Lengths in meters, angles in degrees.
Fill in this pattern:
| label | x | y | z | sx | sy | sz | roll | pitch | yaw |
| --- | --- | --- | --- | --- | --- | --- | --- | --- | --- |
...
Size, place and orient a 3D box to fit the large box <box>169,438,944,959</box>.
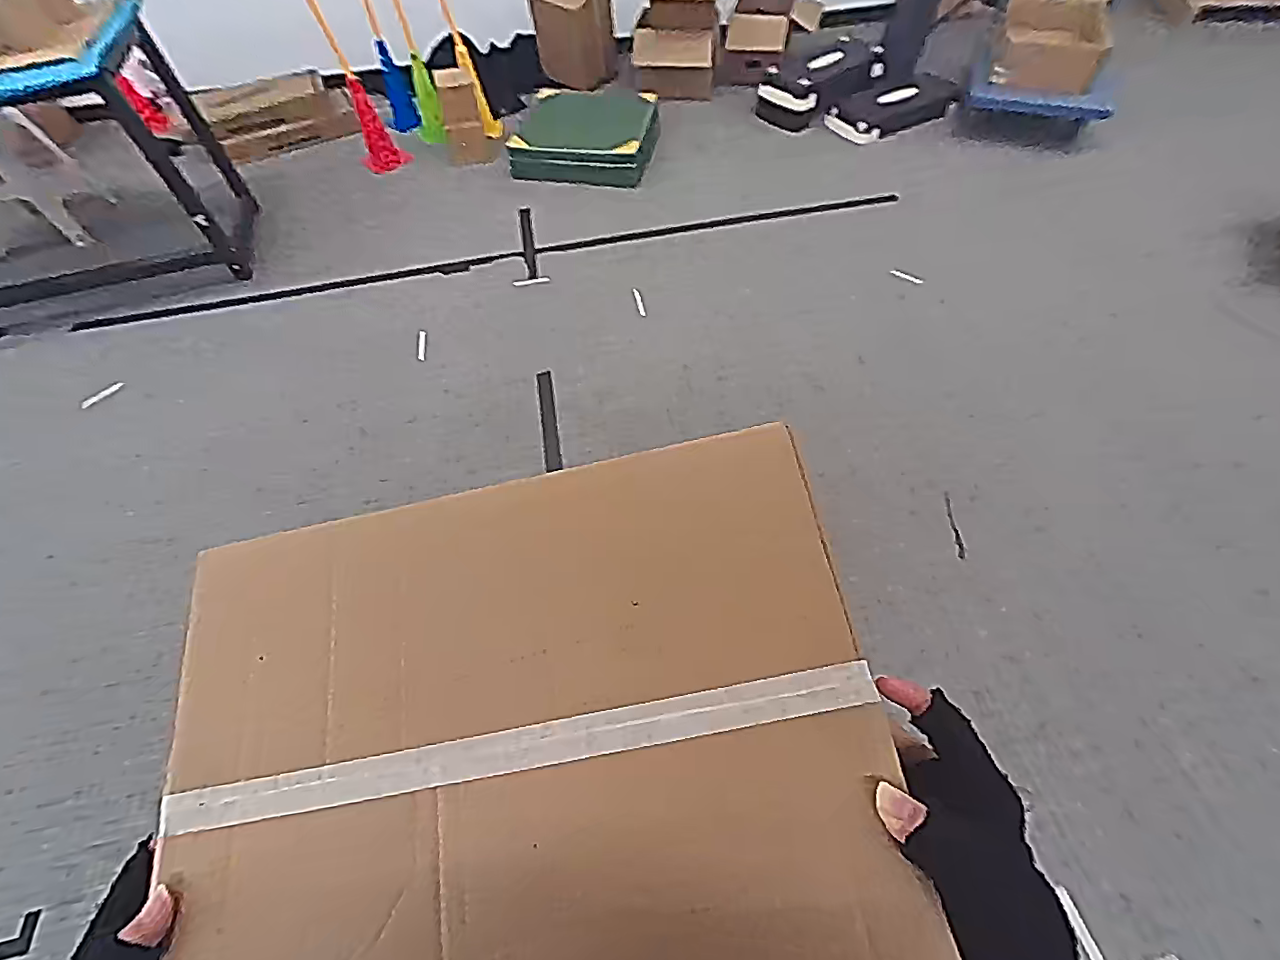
| label | x | y | z | sx | sy | sz | roll | pitch | yaw |
| --- | --- | --- | --- | --- | --- | --- | --- | --- | --- |
| large box | -0.051 | 0.204 | 0.445 | 0.408 | 0.320 | 0.320 | -13 | 68 | 5 |
